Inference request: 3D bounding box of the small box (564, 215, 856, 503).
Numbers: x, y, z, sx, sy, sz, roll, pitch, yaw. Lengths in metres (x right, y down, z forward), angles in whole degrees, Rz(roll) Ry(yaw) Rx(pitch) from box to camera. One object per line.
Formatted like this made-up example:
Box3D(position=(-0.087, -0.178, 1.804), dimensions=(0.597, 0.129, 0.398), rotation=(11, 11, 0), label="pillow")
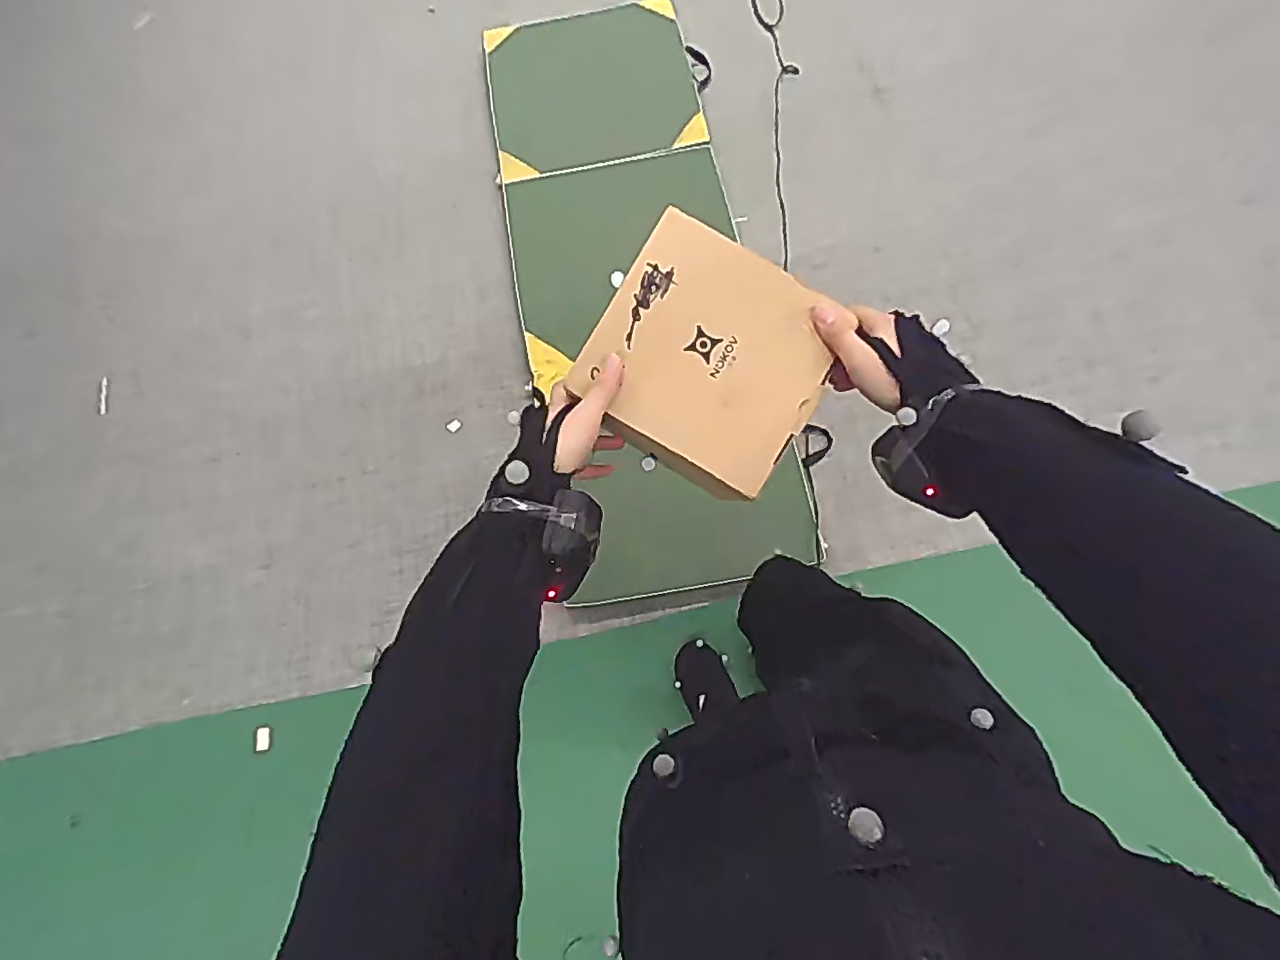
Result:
Box3D(position=(0.054, -0.095, 0.500), dimensions=(0.179, 0.176, 0.168), rotation=(31, 88, 0), label="small box")
